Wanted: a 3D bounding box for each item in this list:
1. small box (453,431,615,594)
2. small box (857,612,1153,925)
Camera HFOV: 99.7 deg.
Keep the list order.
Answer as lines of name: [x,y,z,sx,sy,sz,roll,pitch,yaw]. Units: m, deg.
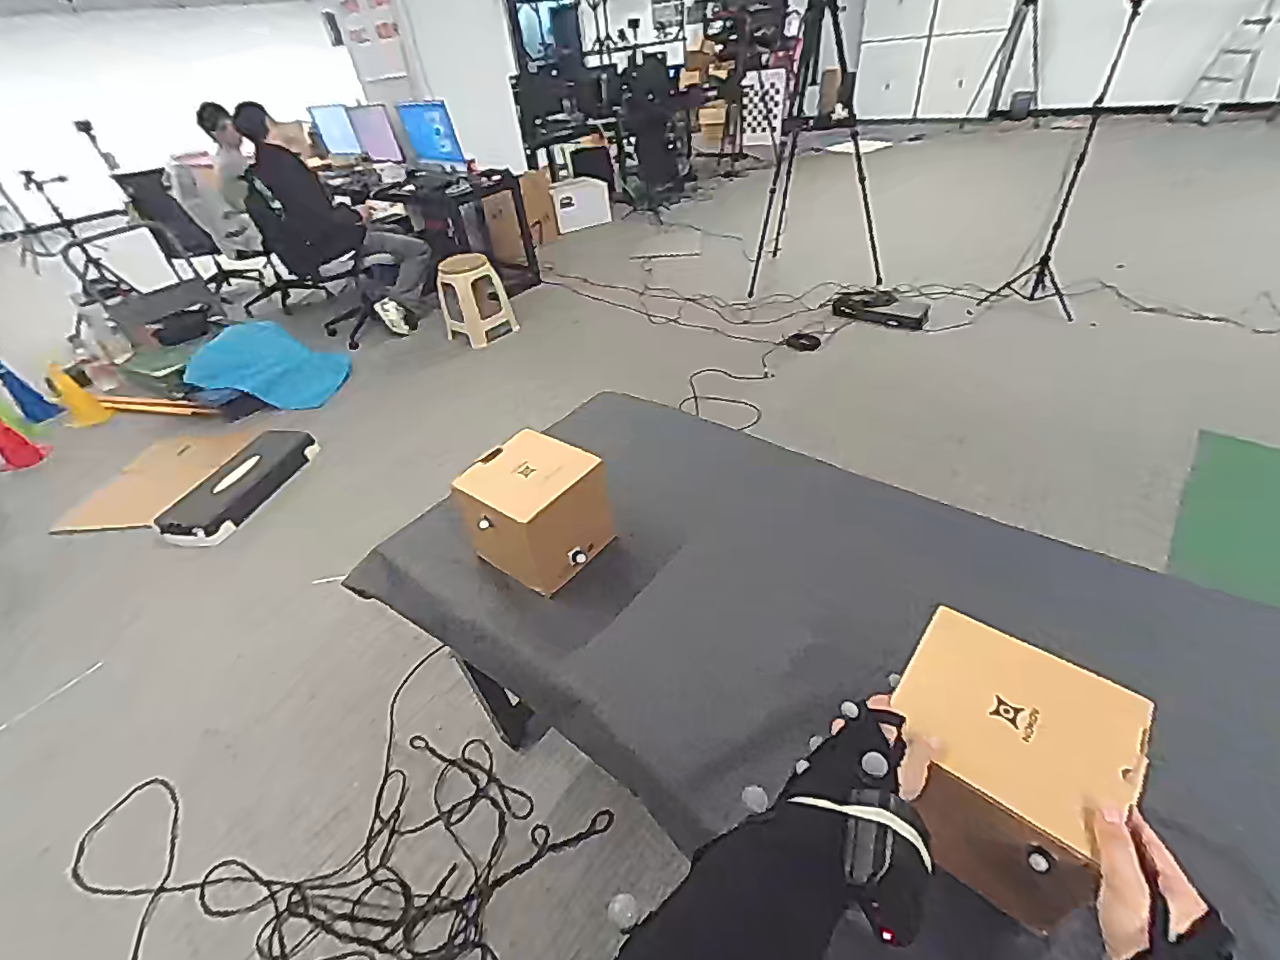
small box: [-0.161,0.051,0.864,0.179,0.176,0.168,23,49,31]
small box: [0.329,0.269,0.515,0.179,0.176,0.168,26,49,34]
